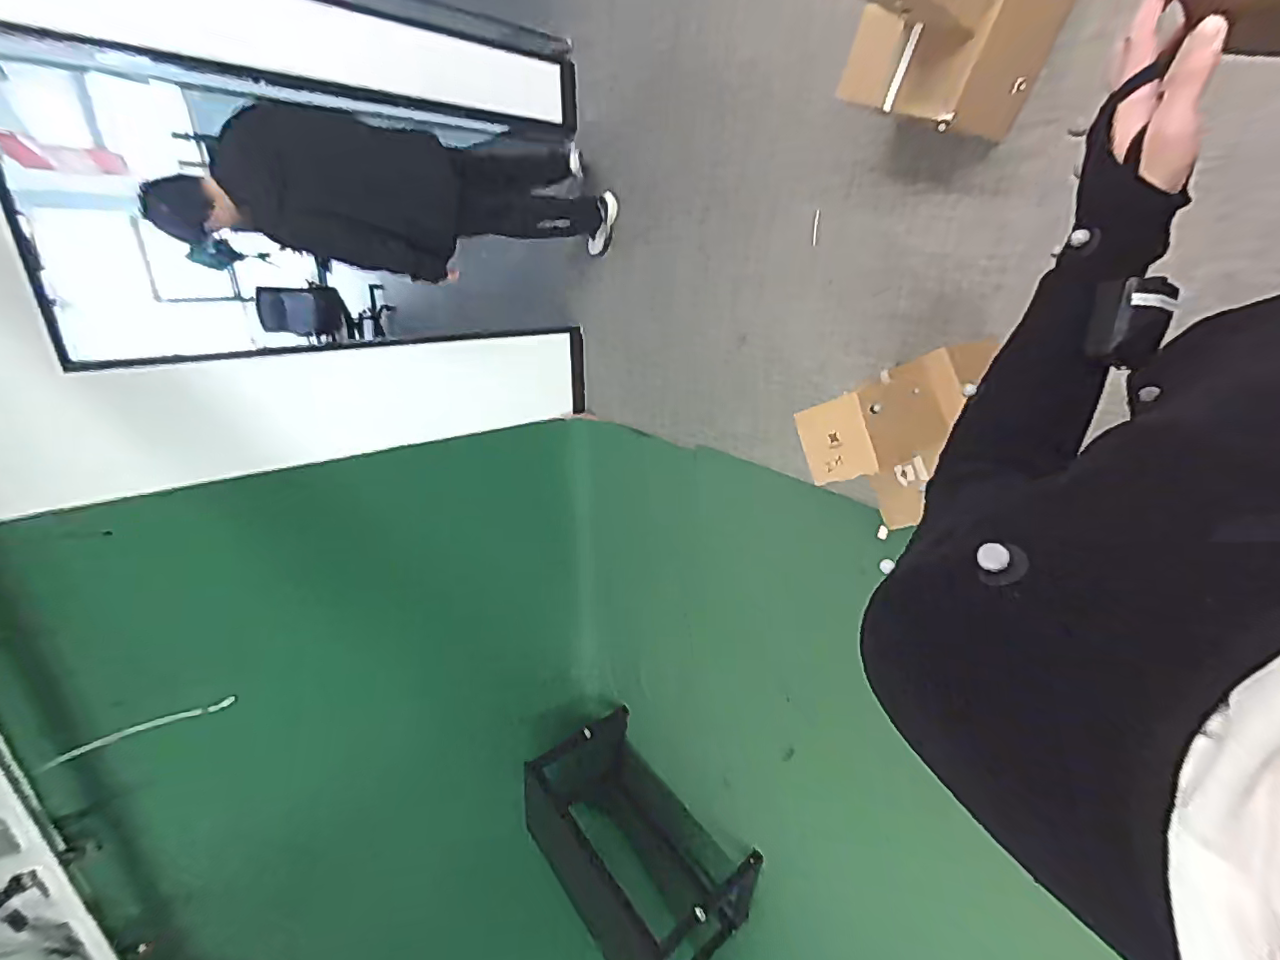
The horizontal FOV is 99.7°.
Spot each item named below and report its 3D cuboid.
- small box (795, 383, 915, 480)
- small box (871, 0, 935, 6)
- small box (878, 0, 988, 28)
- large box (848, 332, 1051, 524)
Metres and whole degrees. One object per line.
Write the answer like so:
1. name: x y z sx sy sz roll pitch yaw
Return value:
1. small box: 0.487 -0.112 1.222 0.168 0.176 0.179 -18 89 54
2. small box: 0.456 -0.954 0.937 0.179 0.176 0.168 44 134 34
3. small box: 0.578 -0.998 1.036 0.179 0.176 0.168 44 135 31
4. large box: 0.822 -0.139 1.468 0.320 0.320 0.408 -26 84 55
